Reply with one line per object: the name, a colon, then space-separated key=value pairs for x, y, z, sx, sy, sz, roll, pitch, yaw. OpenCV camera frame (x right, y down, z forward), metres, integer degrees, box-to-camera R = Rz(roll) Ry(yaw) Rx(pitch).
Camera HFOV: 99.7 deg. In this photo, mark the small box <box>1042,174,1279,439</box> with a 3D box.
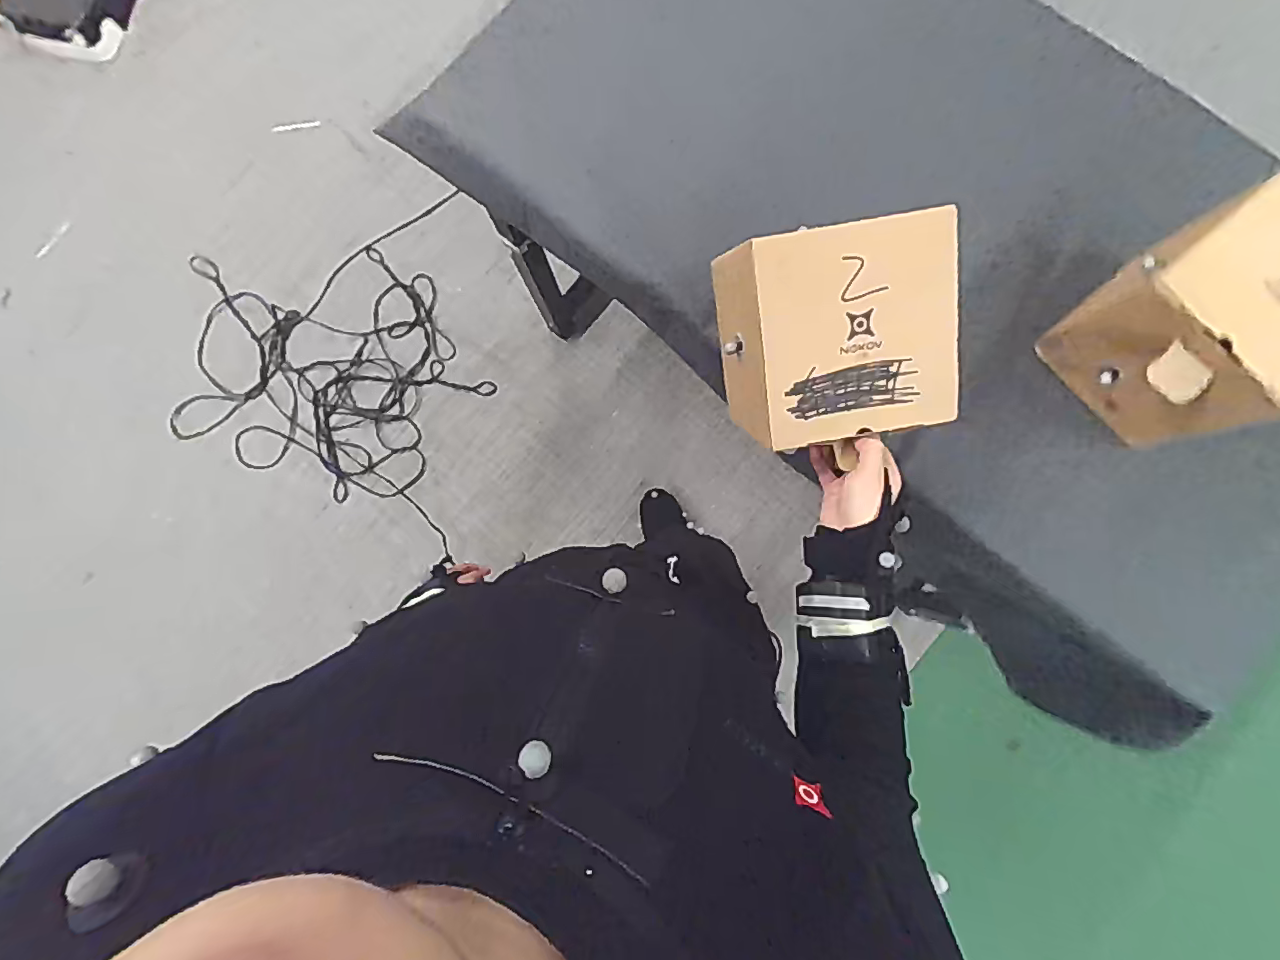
small box: x=0.591 y=-0.167 z=0.571 sx=0.179 sy=0.176 sz=0.168 roll=-40 pitch=83 yaw=-3
